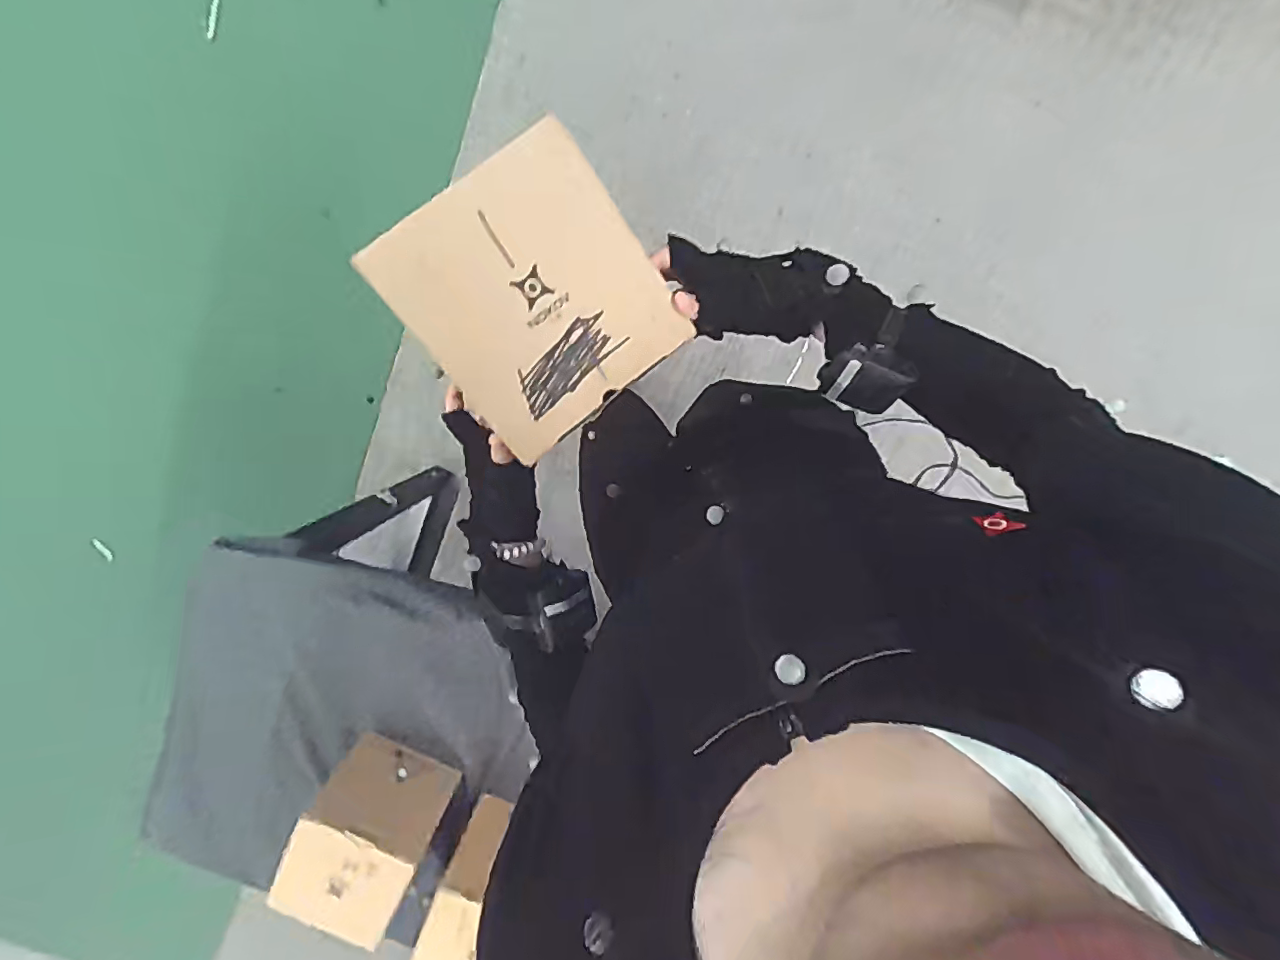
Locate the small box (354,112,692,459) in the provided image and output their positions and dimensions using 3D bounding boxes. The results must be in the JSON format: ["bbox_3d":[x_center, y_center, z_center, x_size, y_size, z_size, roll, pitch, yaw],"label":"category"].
[{"bbox_3d":[-0.090,-0.144,0.448,0.168,0.176,0.179,-38,107,-5],"label":"small box"}]
